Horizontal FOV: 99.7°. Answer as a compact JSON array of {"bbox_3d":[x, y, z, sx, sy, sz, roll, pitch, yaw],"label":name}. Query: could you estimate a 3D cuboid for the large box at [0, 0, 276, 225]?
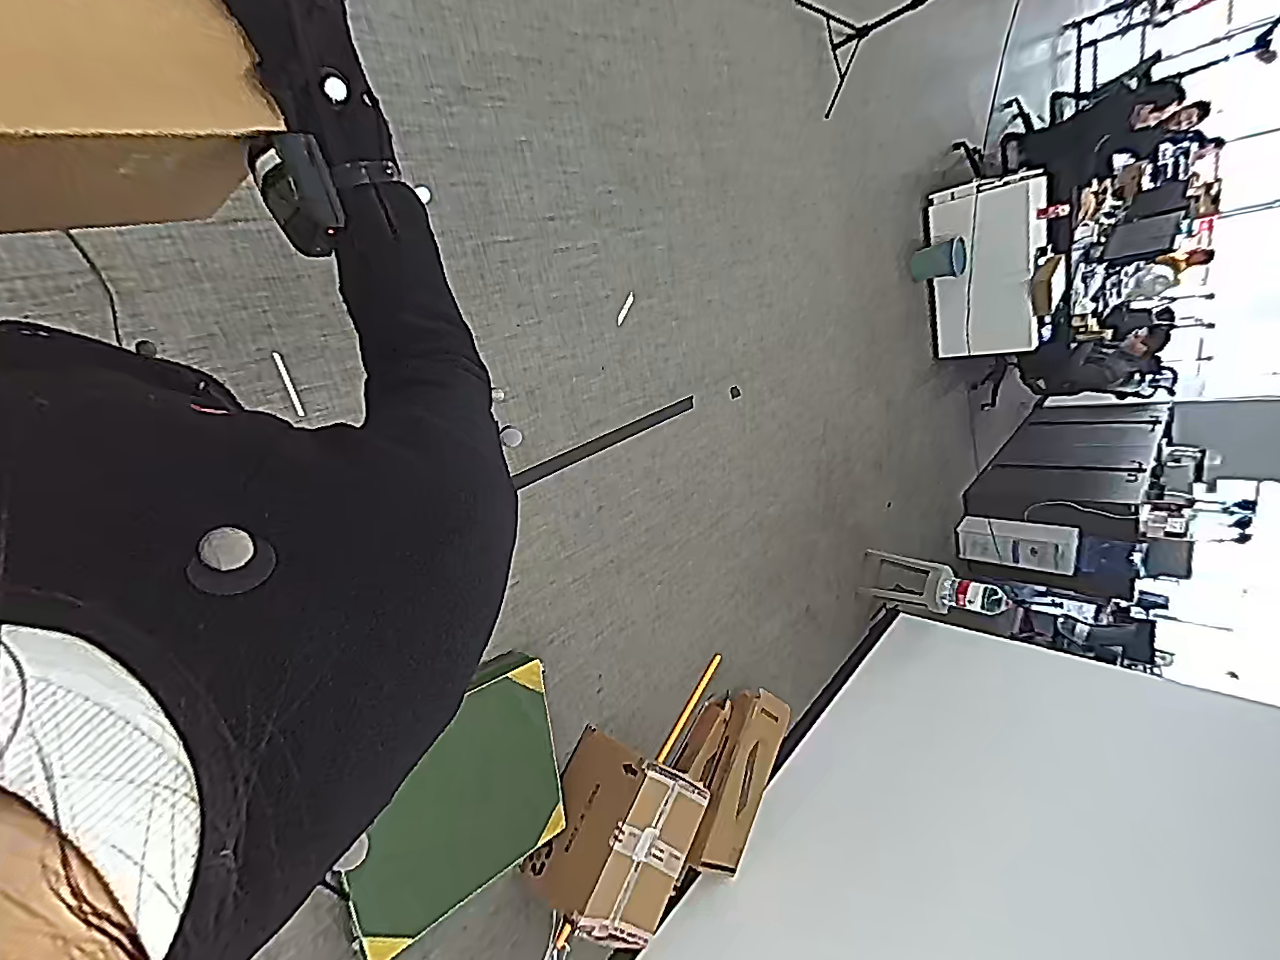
[{"bbox_3d":[-0.508,-0.316,0.280,0.408,0.320,0.320,-31,121,-39],"label":"large box"}]
